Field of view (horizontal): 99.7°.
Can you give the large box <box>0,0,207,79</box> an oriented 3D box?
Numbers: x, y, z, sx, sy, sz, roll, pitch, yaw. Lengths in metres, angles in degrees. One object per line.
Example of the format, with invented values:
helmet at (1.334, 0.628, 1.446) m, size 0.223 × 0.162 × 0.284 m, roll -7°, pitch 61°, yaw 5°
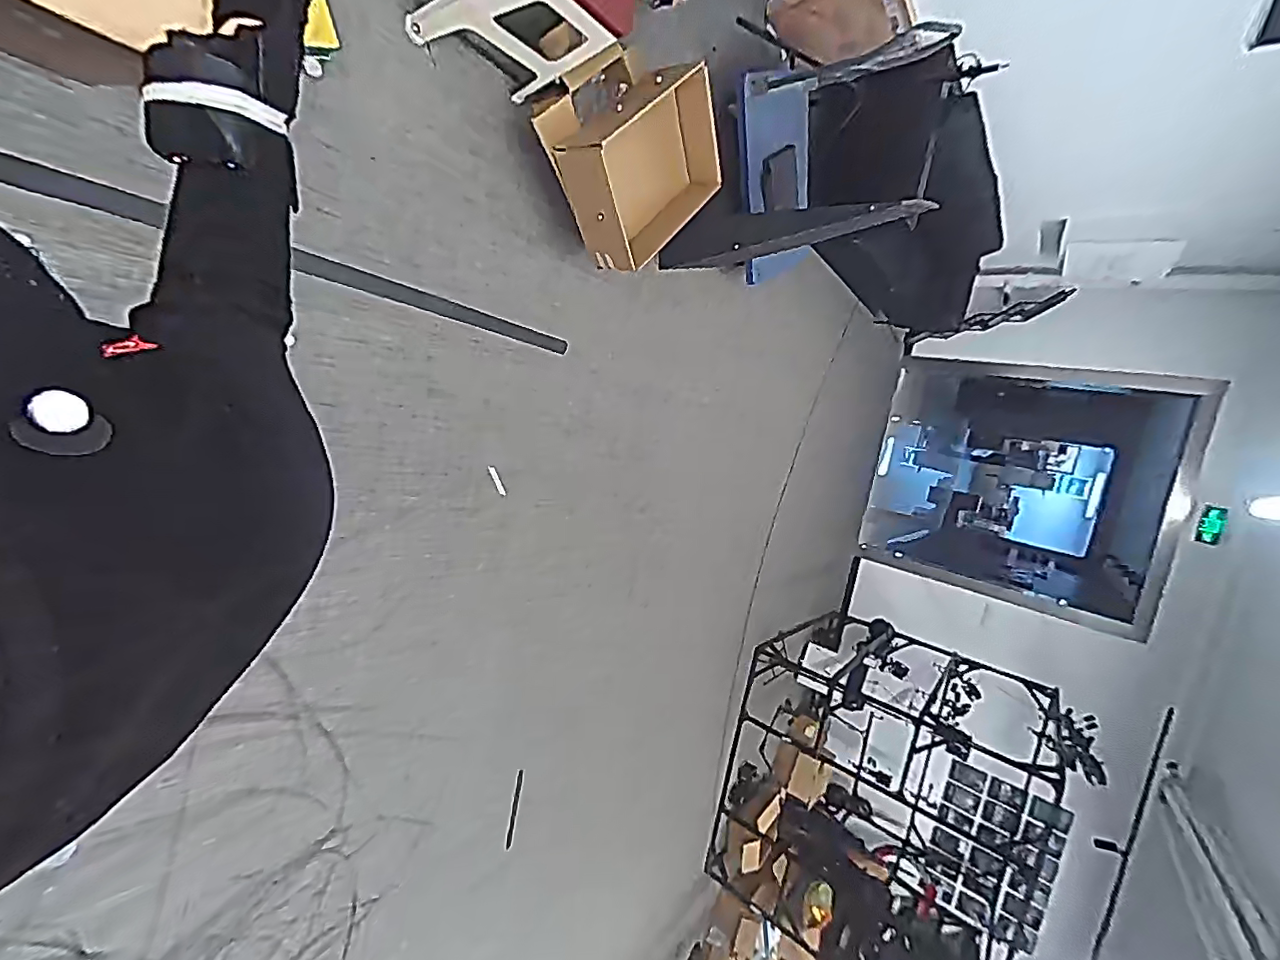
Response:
large box at (-0.496, -0.470, 0.258) m, size 0.408 × 0.320 × 0.320 m, roll -3°, pitch 115°, yaw -56°
